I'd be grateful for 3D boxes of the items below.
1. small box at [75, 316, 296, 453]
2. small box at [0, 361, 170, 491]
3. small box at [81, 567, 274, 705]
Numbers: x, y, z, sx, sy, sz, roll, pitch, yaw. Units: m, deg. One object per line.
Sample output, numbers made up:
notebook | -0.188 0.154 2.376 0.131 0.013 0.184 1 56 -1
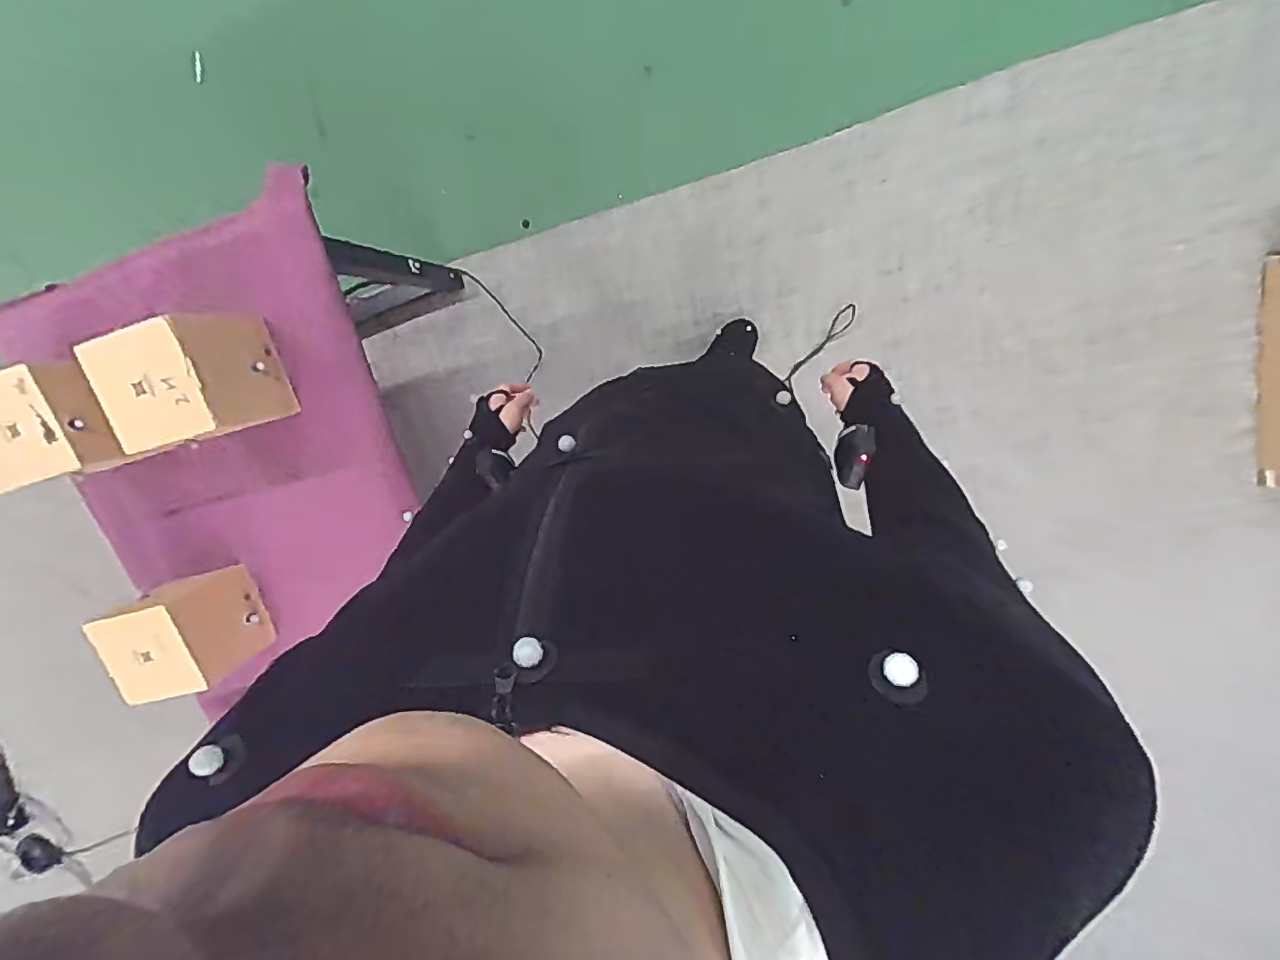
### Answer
small box | -0.700 -0.153 0.853 0.179 0.176 0.168 -12 104 11
small box | -0.951 -0.096 0.902 0.179 0.176 0.168 -14 103 10
small box | -0.828 0.278 0.987 0.179 0.176 0.168 -14 103 10
